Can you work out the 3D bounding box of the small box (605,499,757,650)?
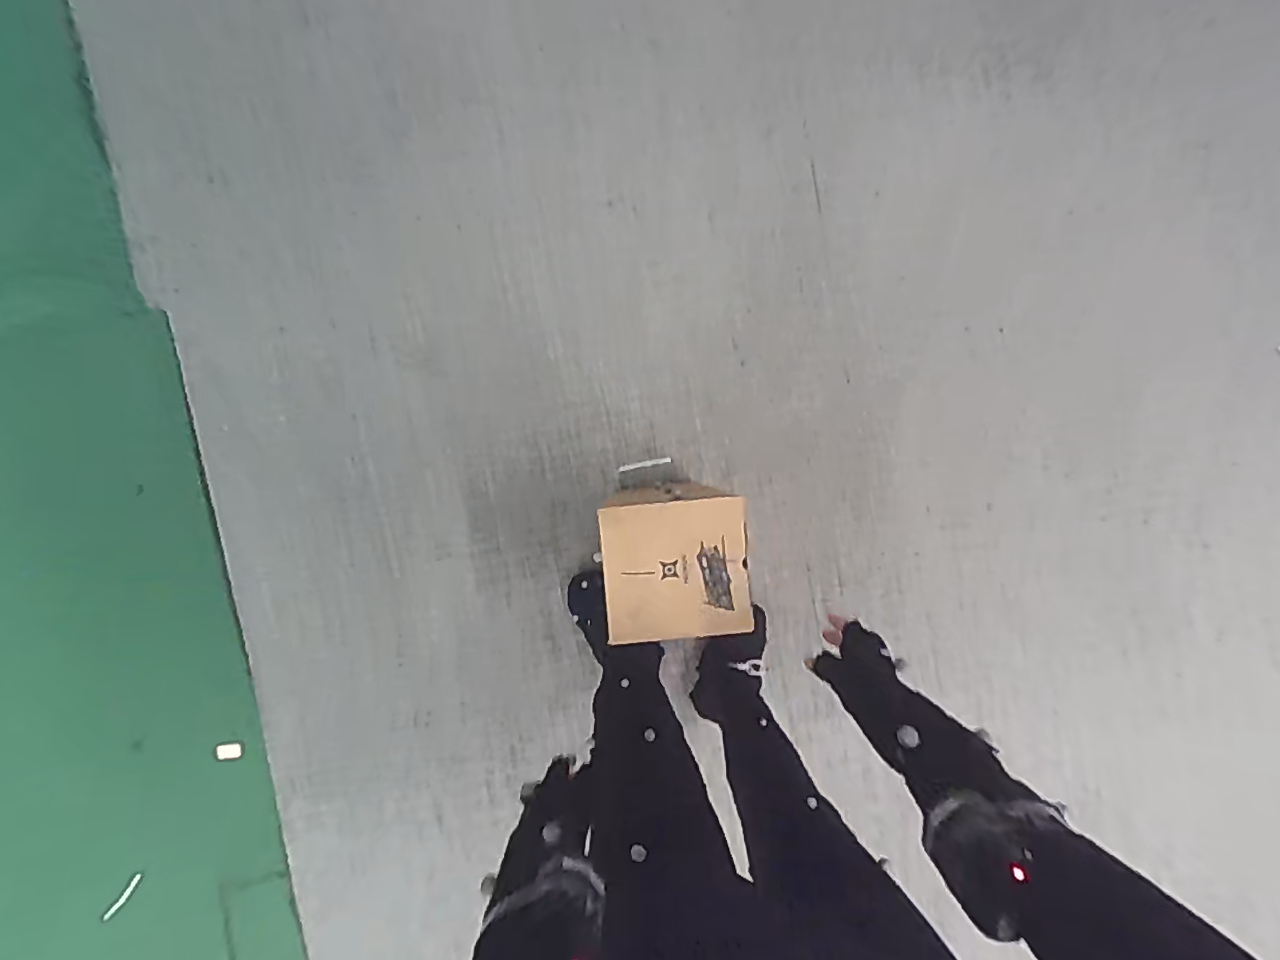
[{"bbox_3d":[0.048,0.115,0.726,0.179,0.176,0.168,-4,91,0],"label":"small box"}]
